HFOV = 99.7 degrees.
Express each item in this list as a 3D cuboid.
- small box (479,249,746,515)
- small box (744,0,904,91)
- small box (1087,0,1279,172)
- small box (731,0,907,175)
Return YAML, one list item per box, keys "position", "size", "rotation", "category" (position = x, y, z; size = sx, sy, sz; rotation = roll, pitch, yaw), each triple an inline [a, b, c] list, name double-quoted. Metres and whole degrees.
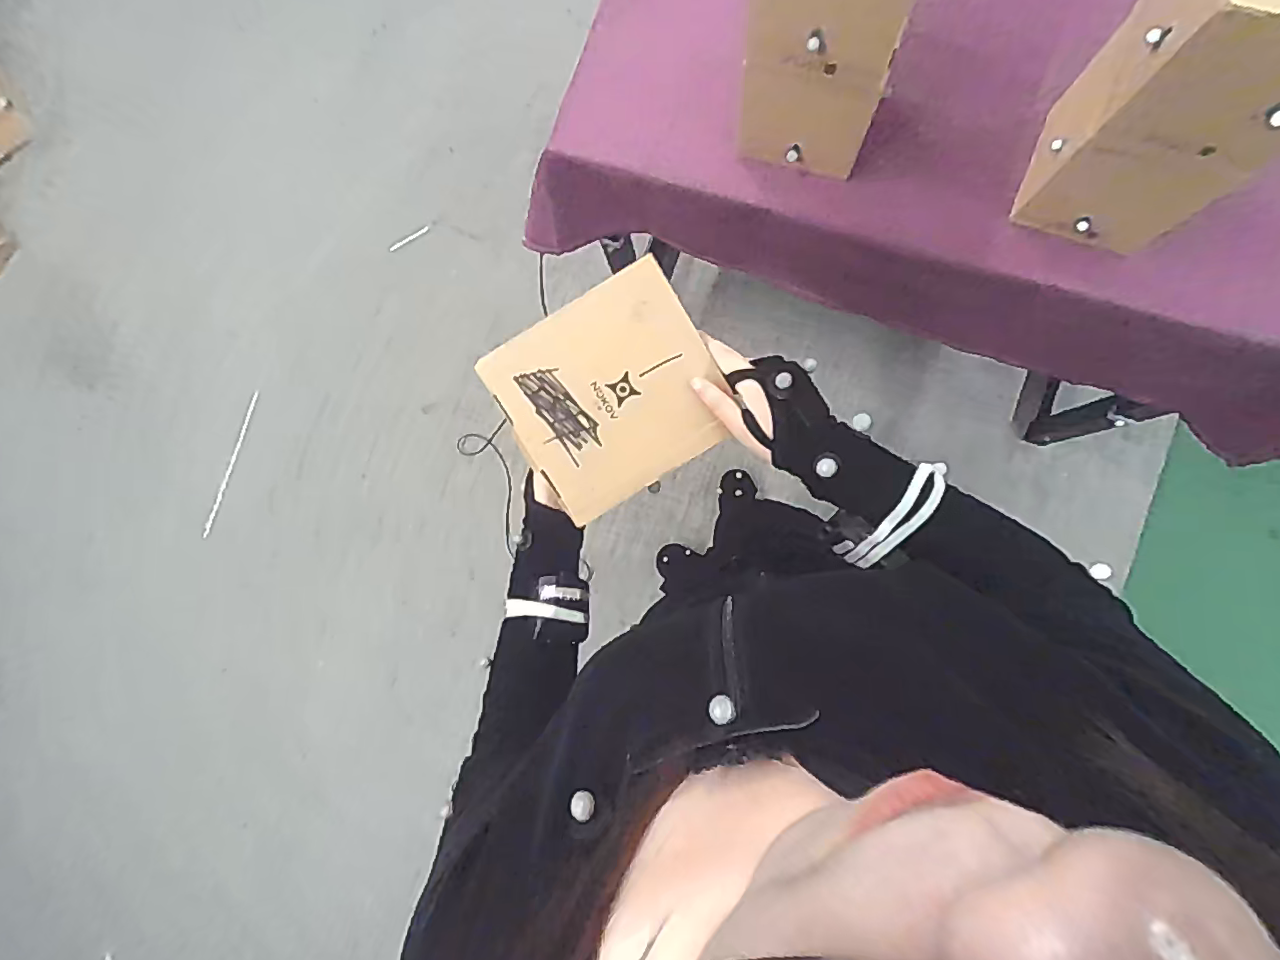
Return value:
- position: [-0.024, -0.086, 0.534]
  size: [0.179, 0.176, 0.168]
  rotation: [-31, 96, 0]
  category: "small box"
- position: [0.217, -0.577, 0.582]
  size: [0.168, 0.176, 0.179]
  rotation: [19, 88, 9]
  category: "small box"
- position: [0.592, -0.442, 0.527]
  size: [0.168, 0.176, 0.179]
  rotation: [20, 88, 8]
  category: "small box"
- position: [0.235, -0.558, 0.746]
  size: [0.179, 0.176, 0.168]
  rotation: [18, 87, 7]
  category: "small box"
